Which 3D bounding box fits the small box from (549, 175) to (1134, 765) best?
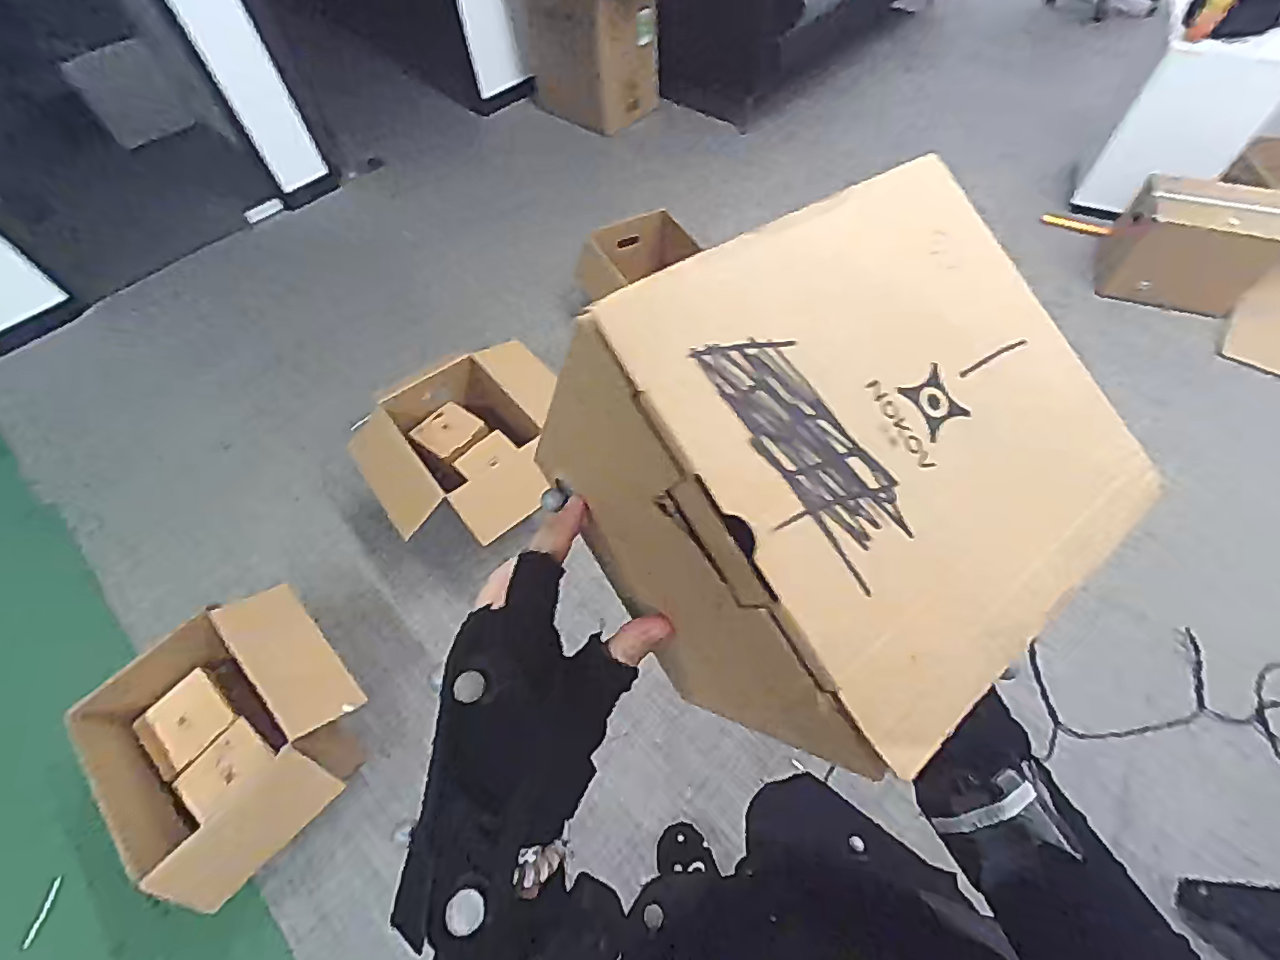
[{"bbox_3d":[0.067,-0.002,0.269,0.179,0.176,0.168,-30,86,-21],"label":"small box"}]
